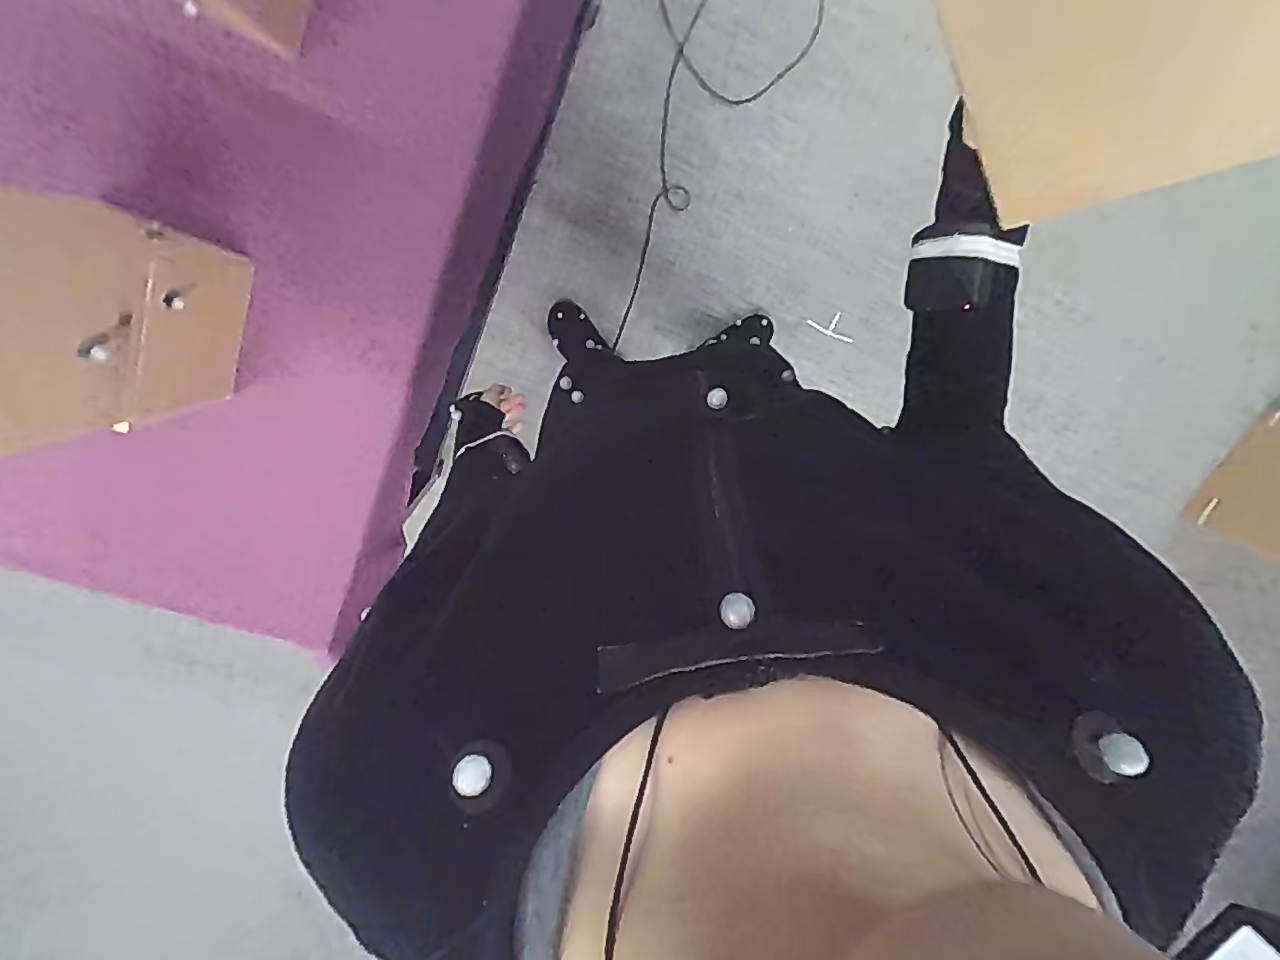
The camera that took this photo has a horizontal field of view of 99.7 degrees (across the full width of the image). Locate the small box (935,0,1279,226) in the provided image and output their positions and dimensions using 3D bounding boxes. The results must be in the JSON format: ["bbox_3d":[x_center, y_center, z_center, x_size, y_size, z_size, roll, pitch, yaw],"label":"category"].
[{"bbox_3d":[0.231,-0.249,0.212,0.176,0.168,0.179,38,67,-36],"label":"small box"}]

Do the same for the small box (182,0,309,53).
[{"bbox_3d":[-0.394,-0.521,0.461,0.168,0.176,0.179,22,105,-14],"label":"small box"}]

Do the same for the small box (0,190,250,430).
[{"bbox_3d":[-0.552,-0.177,0.569,0.168,0.176,0.179,19,106,-11],"label":"small box"}]
